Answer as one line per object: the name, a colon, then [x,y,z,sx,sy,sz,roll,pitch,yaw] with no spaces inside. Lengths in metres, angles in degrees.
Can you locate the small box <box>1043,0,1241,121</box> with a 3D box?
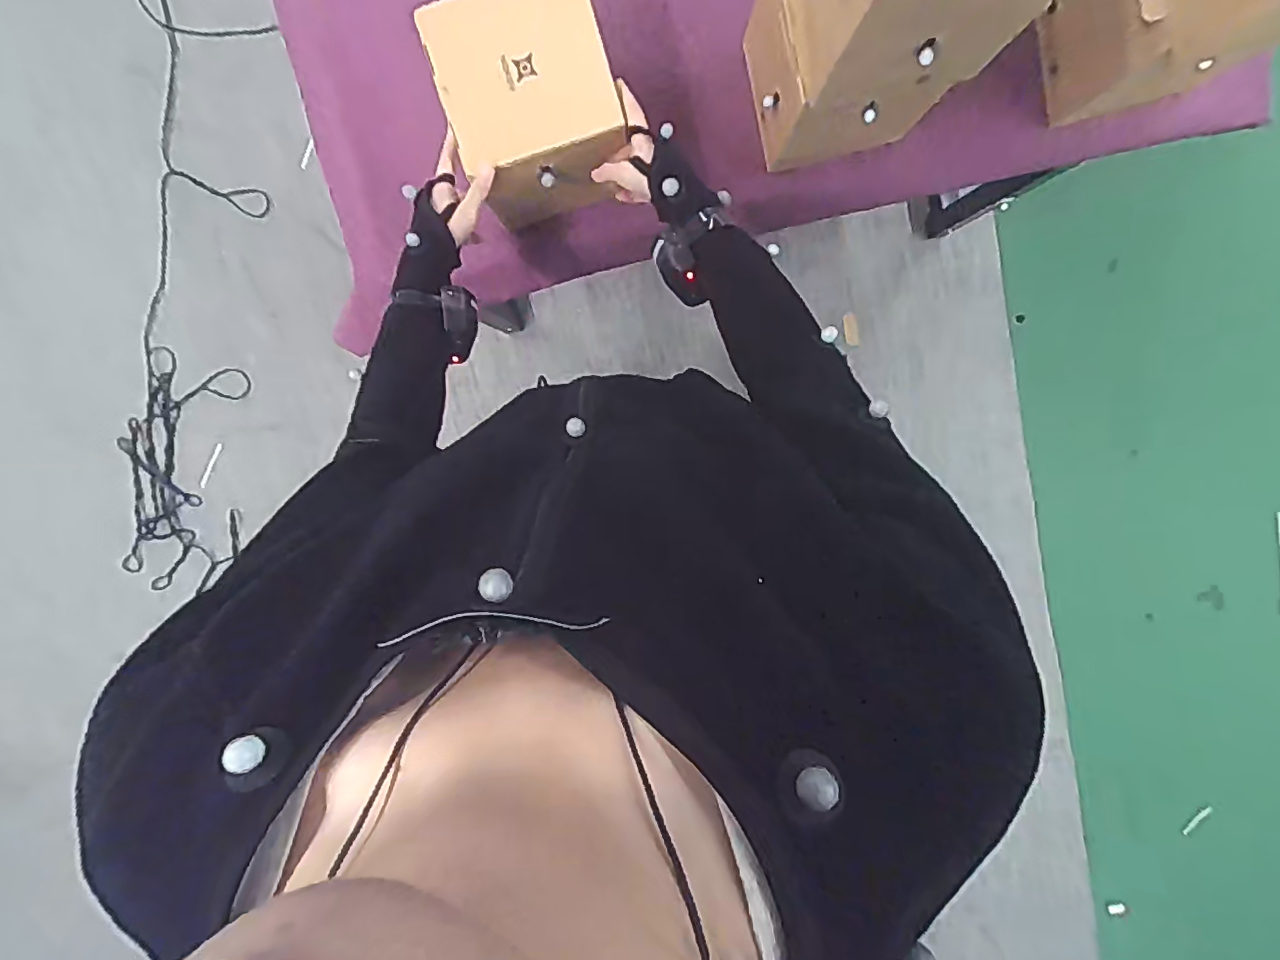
small box: [0.588,-0.539,0.600,0.179,0.176,0.168,-15,99,3]

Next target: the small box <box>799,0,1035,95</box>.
small box: [0.237,-0.460,0.453,0.168,0.176,0.179,-10,98,2]

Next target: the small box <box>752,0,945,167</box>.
small box: [0.233,-0.488,0.615,0.179,0.176,0.168,-12,98,2]

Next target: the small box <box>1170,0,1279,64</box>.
small box: [0.587,-0.496,0.440,0.168,0.176,0.179,-12,98,3]
